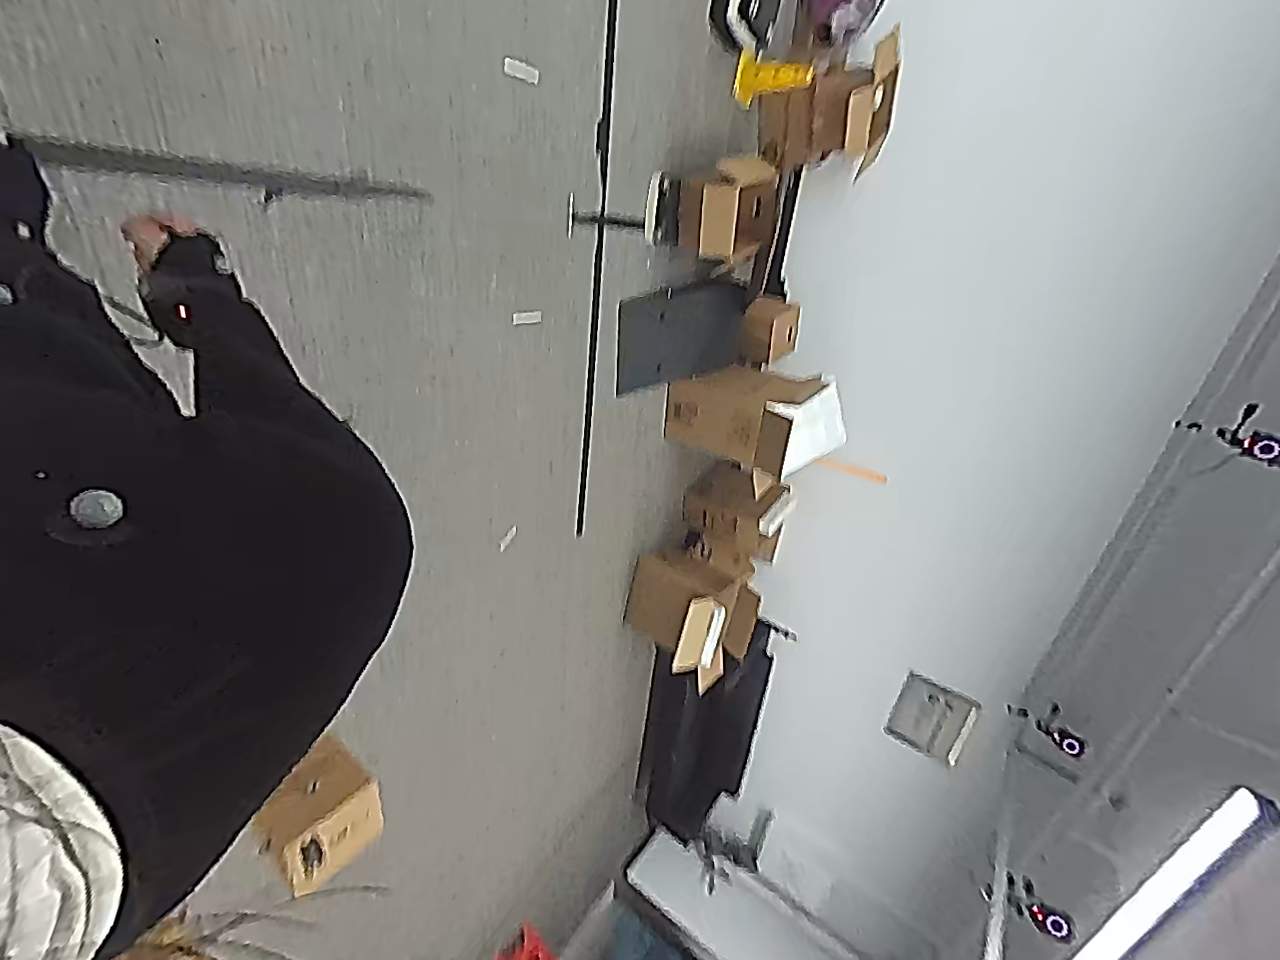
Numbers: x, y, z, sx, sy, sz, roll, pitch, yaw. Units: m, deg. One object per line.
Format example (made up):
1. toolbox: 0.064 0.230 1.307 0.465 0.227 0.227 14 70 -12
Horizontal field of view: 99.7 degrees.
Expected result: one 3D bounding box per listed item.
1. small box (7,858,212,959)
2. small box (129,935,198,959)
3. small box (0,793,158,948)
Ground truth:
1. small box: -0.813 0.737 0.838 0.168 0.176 0.179 -31 136 -48
2. small box: -0.688 0.788 0.745 0.168 0.176 0.179 -35 139 -44
3. small box: -0.947 0.680 0.915 0.168 0.176 0.179 -33 137 -48
